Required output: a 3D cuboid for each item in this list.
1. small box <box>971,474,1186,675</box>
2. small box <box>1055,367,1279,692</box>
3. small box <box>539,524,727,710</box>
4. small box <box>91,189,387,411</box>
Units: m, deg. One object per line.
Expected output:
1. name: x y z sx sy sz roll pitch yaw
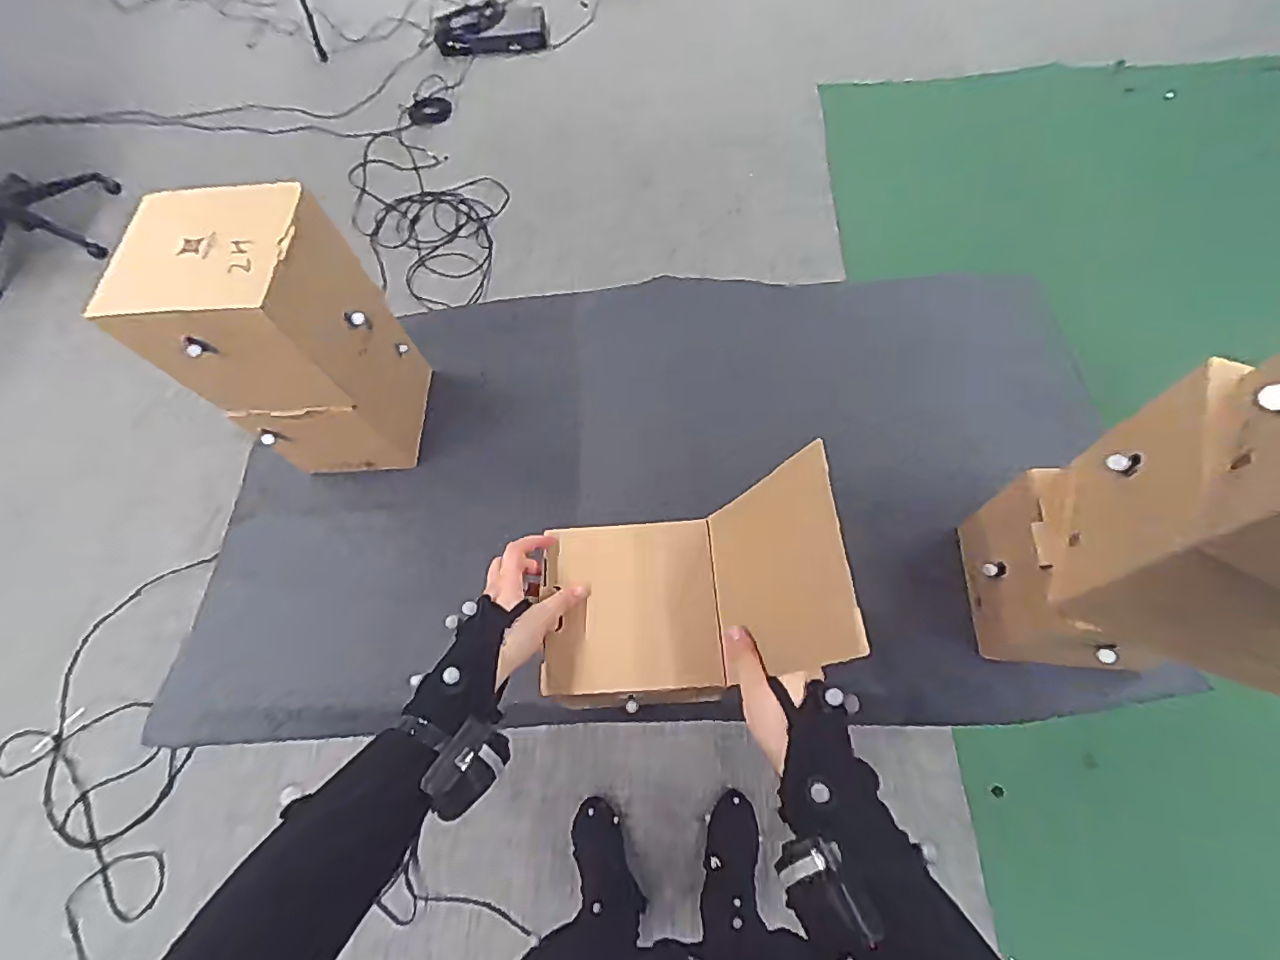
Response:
1. small box: 0.480 0.106 0.573 0.179 0.176 0.168 3 63 7
2. small box: 0.471 0.048 0.420 0.179 0.176 0.168 23 67 15
3. small box: -0.003 0.158 0.593 0.179 0.176 0.168 -5 66 3
4. small box: -0.417 -0.188 0.599 0.179 0.176 0.168 -2 67 3
